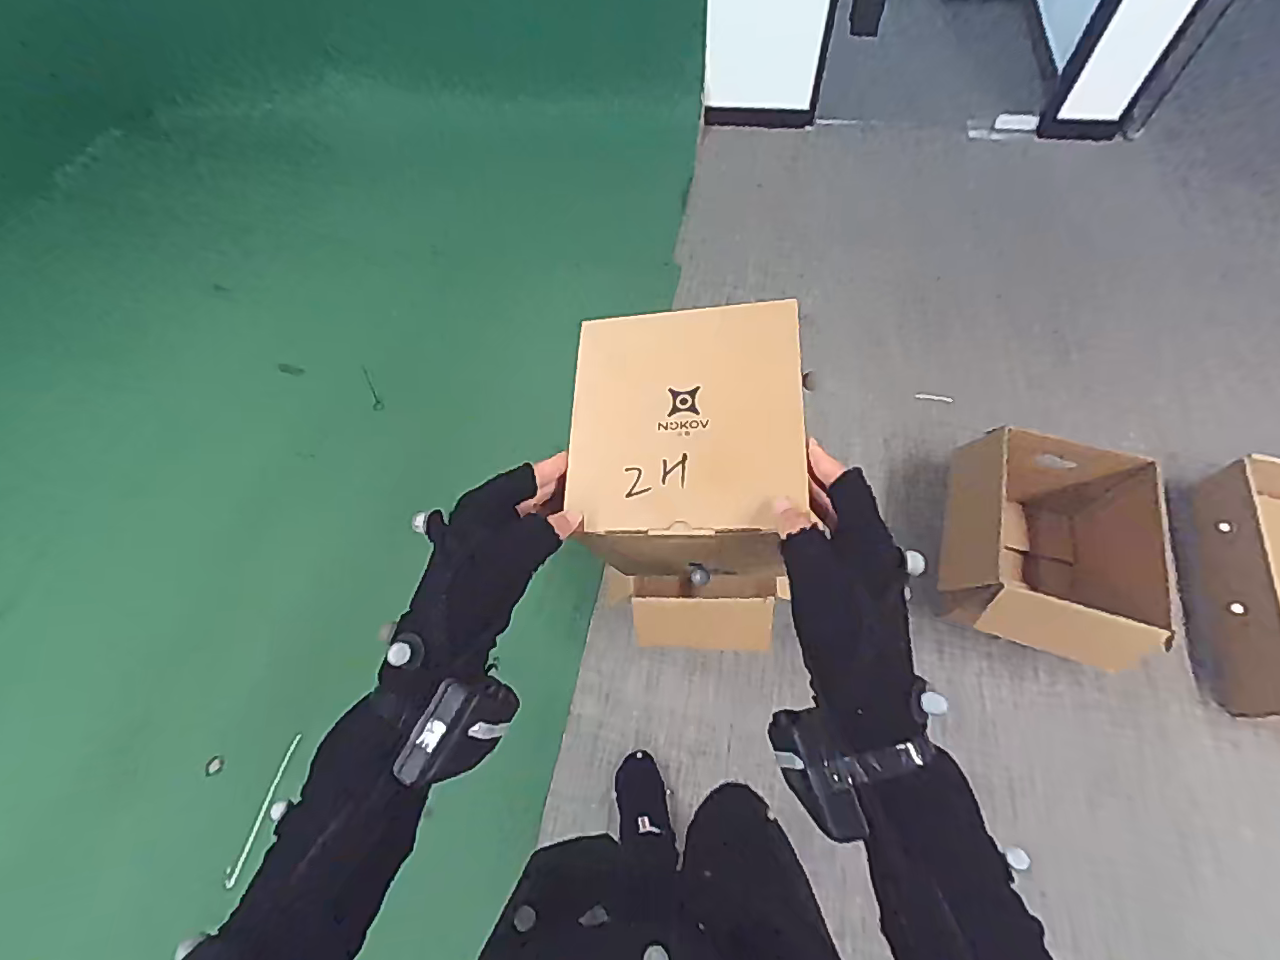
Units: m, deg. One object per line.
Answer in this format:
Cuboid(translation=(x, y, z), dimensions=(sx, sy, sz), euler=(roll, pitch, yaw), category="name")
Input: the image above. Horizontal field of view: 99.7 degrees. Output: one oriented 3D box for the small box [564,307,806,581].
Cuboid(translation=(0.049, -0.018, 0.461), dimensions=(0.168, 0.176, 0.179), euler=(-2, 69, 14), category="small box")
